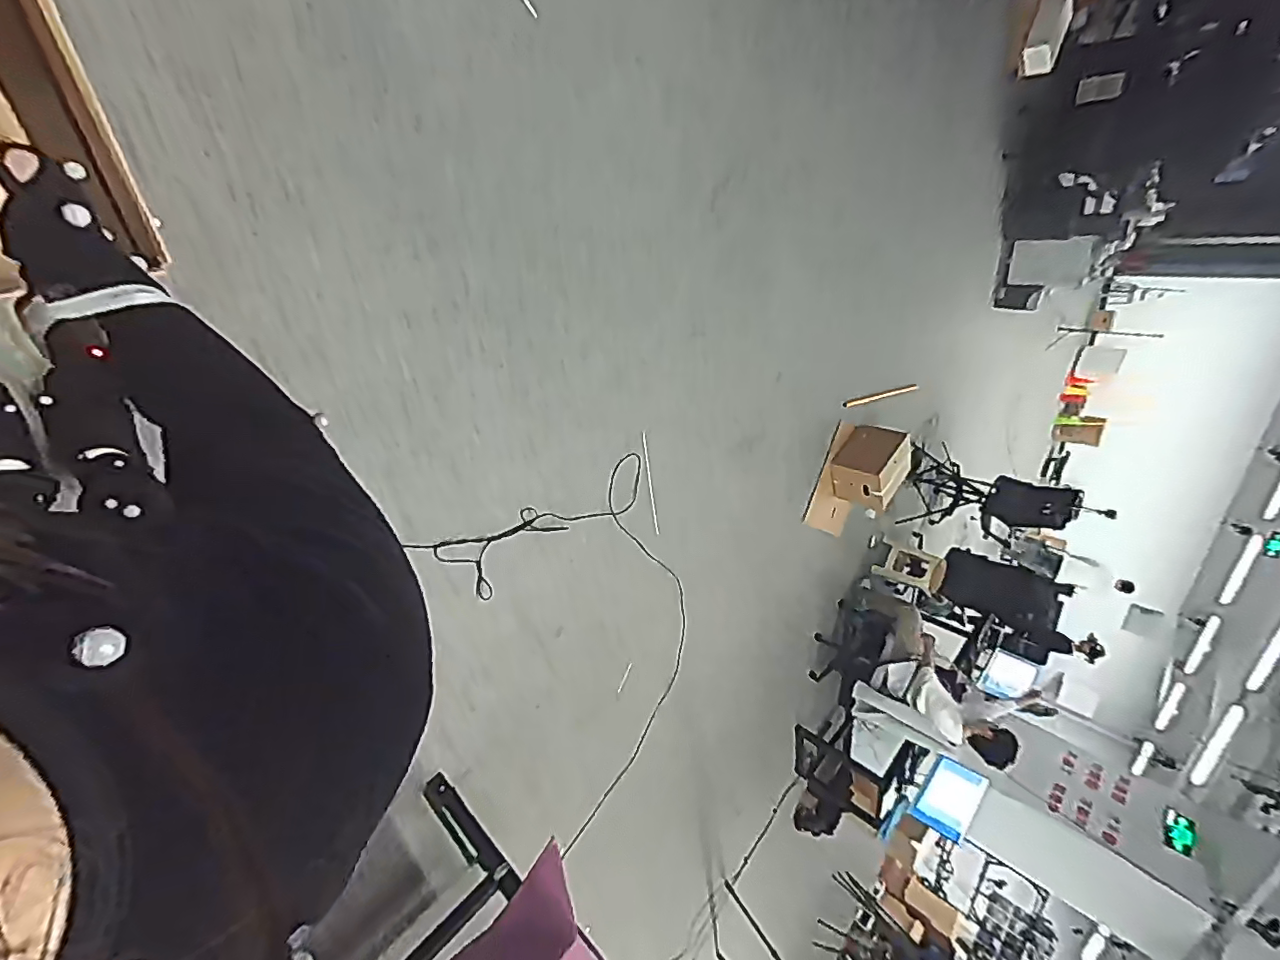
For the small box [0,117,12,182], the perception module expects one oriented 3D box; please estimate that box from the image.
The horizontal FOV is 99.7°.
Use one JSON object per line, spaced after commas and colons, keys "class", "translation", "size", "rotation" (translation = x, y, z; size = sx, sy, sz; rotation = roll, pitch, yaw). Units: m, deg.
{"class": "small box", "translation": [-0.605, -0.305, 0.377], "size": [0.168, 0.176, 0.179], "rotation": [-31, 139, -28]}
